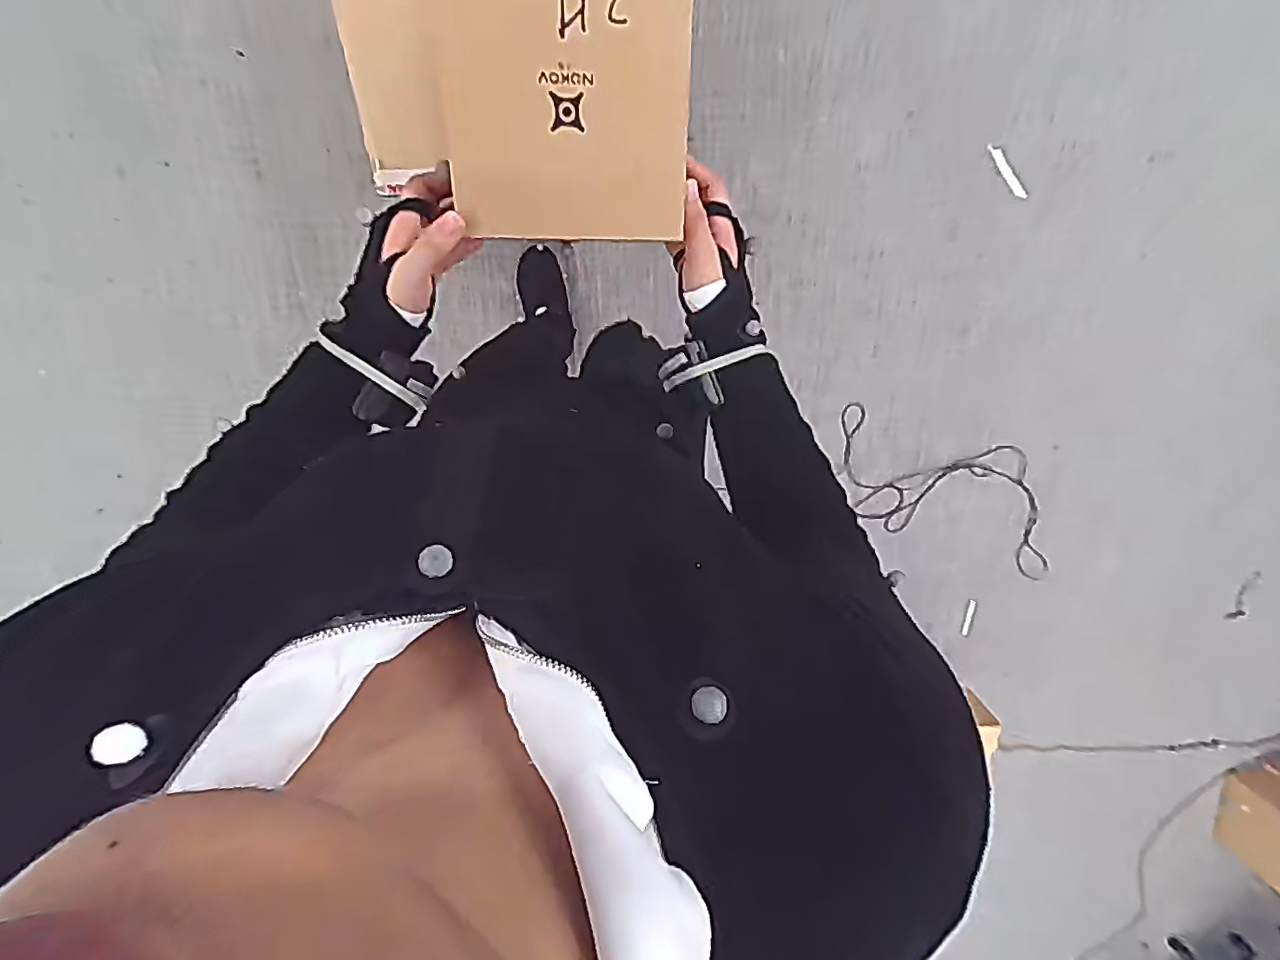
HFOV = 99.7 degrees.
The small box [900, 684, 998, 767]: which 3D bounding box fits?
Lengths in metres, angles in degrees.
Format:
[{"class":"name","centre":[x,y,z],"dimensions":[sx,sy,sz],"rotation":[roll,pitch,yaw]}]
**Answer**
[{"class":"small box","centre":[0.937,0.748,1.656],"dimensions":[0.179,0.176,0.168],"rotation":[3,110,-6]}]

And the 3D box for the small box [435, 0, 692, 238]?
[{"class":"small box","centre":[-0.057,-0.294,0.436],"dimensions":[0.168,0.176,0.179],"rotation":[-2,113,-7]}]
